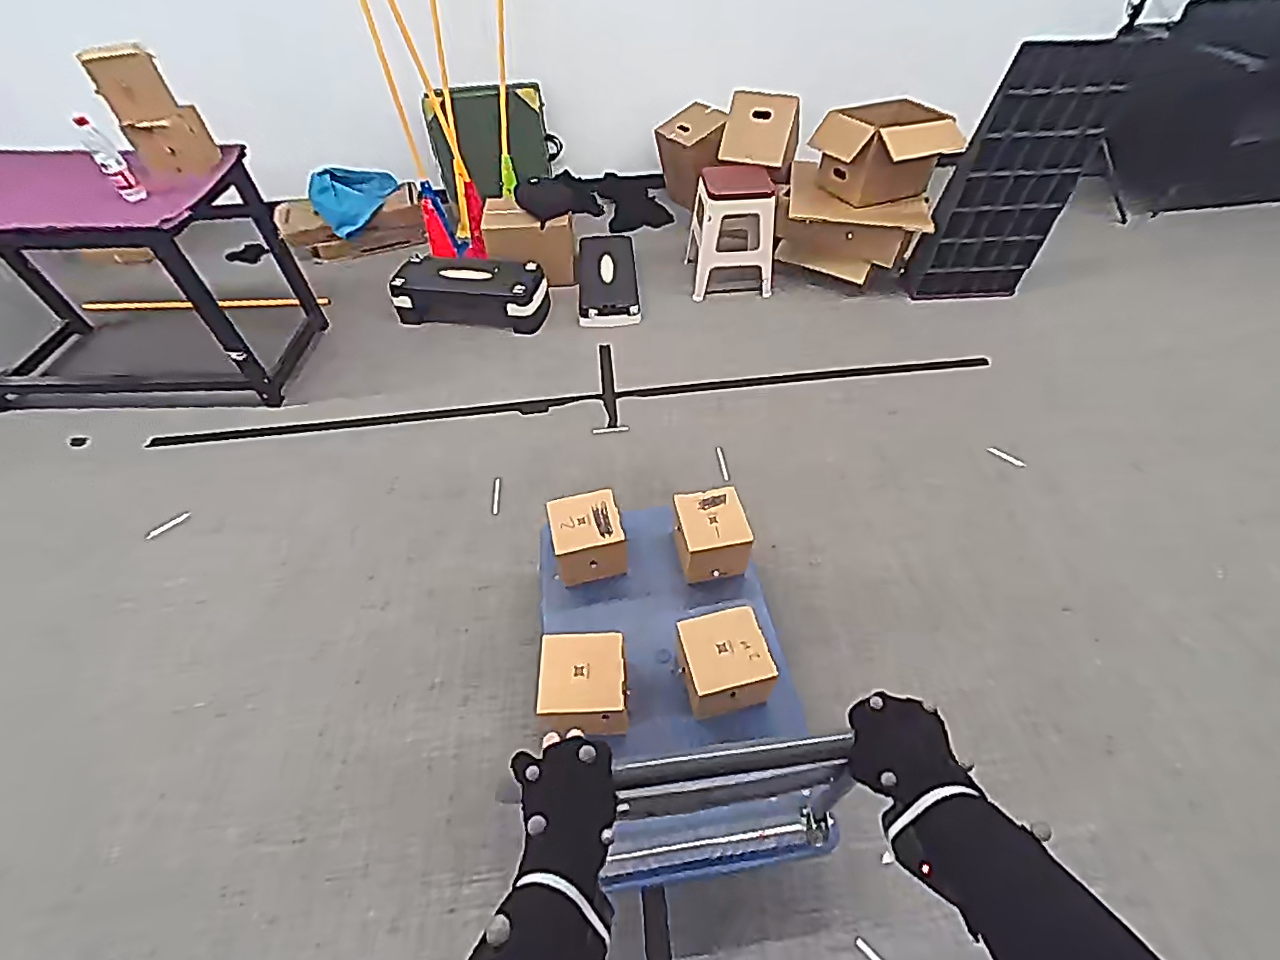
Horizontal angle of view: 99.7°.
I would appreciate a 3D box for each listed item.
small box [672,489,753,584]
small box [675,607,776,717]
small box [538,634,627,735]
[{"bbox_3d":[0.183,0.150,1.430,0.168,0.176,0.179,-9,52,-6],"label":"small box"},{"bbox_3d":[0.184,0.412,1.215,0.179,0.176,0.168,-12,52,-7],"label":"small box"},{"bbox_3d":[-0.119,0.453,1.192,0.179,0.176,0.168,-2,51,-1],"label":"small box"}]
